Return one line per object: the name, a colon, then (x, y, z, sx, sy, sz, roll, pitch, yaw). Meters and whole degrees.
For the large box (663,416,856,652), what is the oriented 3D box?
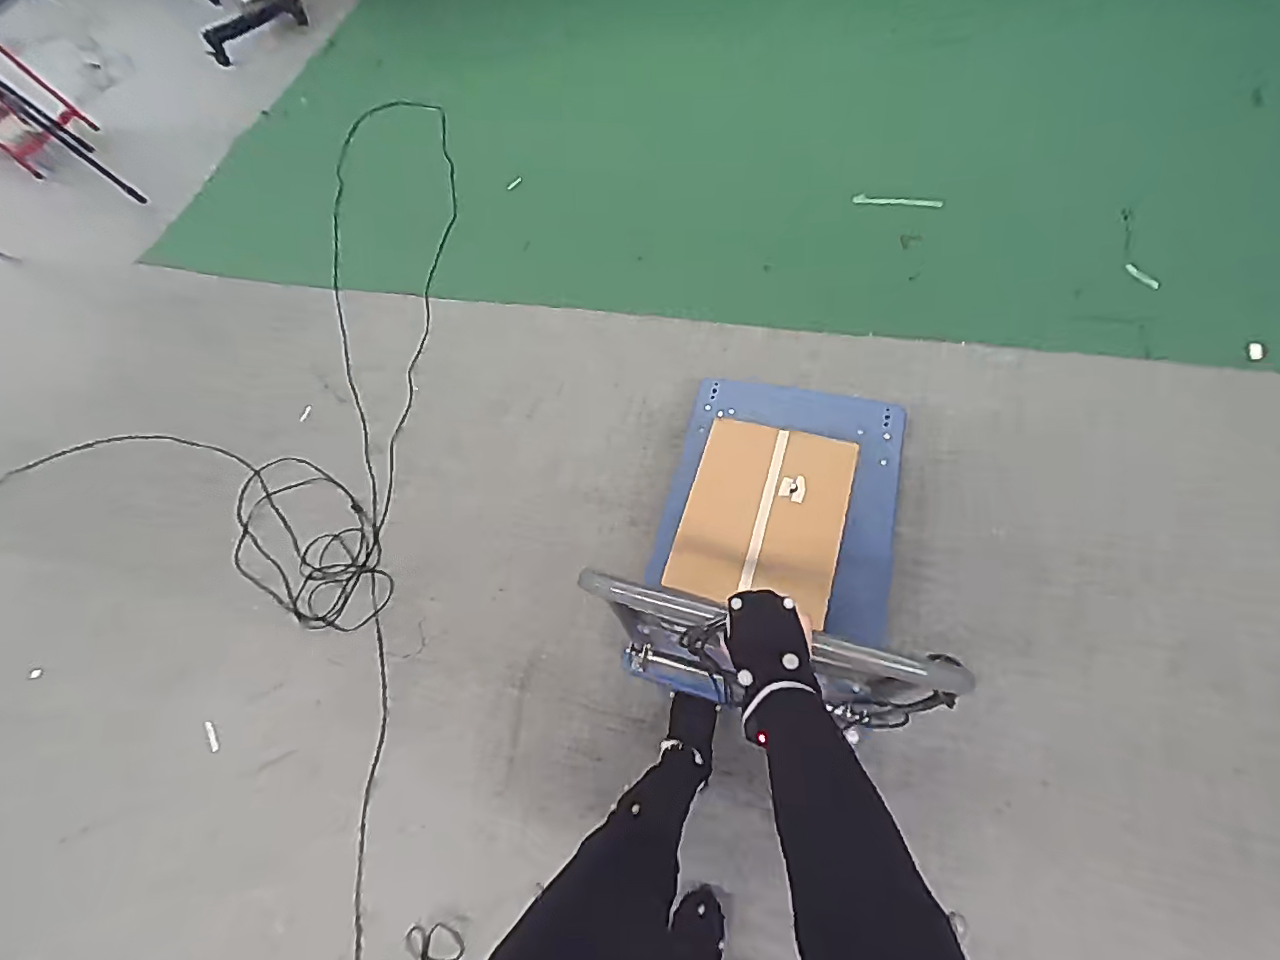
large box: (0.268, 0.127, 1.219, 0.320, 0.320, 0.408, 14, 67, 15)
